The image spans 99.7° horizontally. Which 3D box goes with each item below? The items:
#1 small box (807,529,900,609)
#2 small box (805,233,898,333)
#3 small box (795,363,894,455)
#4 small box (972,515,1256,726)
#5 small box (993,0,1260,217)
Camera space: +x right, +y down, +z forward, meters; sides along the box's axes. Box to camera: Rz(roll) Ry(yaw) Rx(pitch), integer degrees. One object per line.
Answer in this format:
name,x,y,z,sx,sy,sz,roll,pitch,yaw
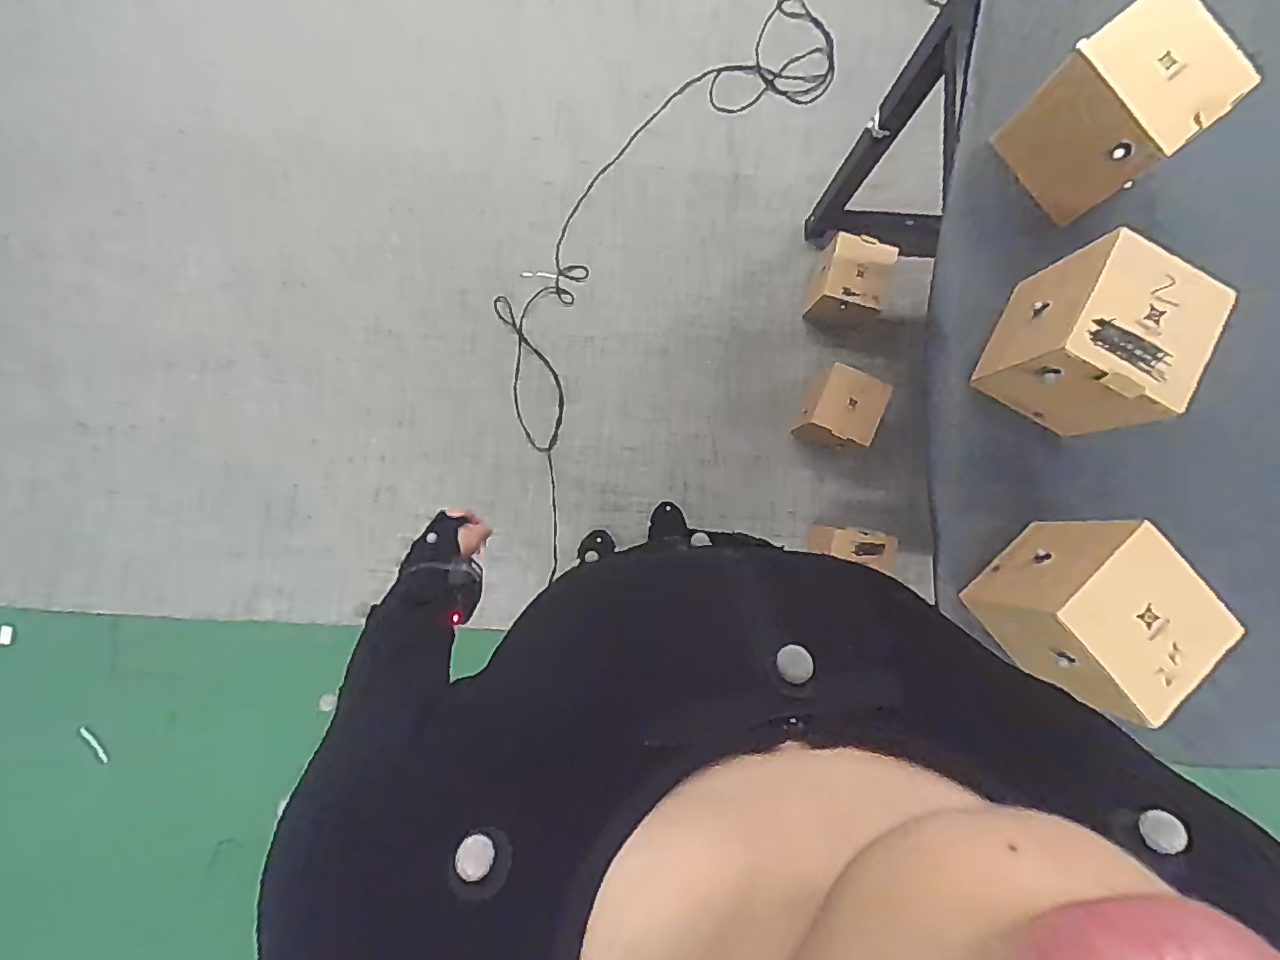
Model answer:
small box,0.550,0.225,1.413,0.168,0.176,0.179,8,87,-1
small box,0.565,-0.525,1.464,0.168,0.176,0.179,15,85,-1
small box,0.534,-0.180,1.440,0.168,0.176,0.179,23,84,-1
small box,0.575,0.164,0.683,0.168,0.176,0.179,-41,89,-7
small box,0.638,-0.506,0.736,0.168,0.176,0.179,-39,89,-4
